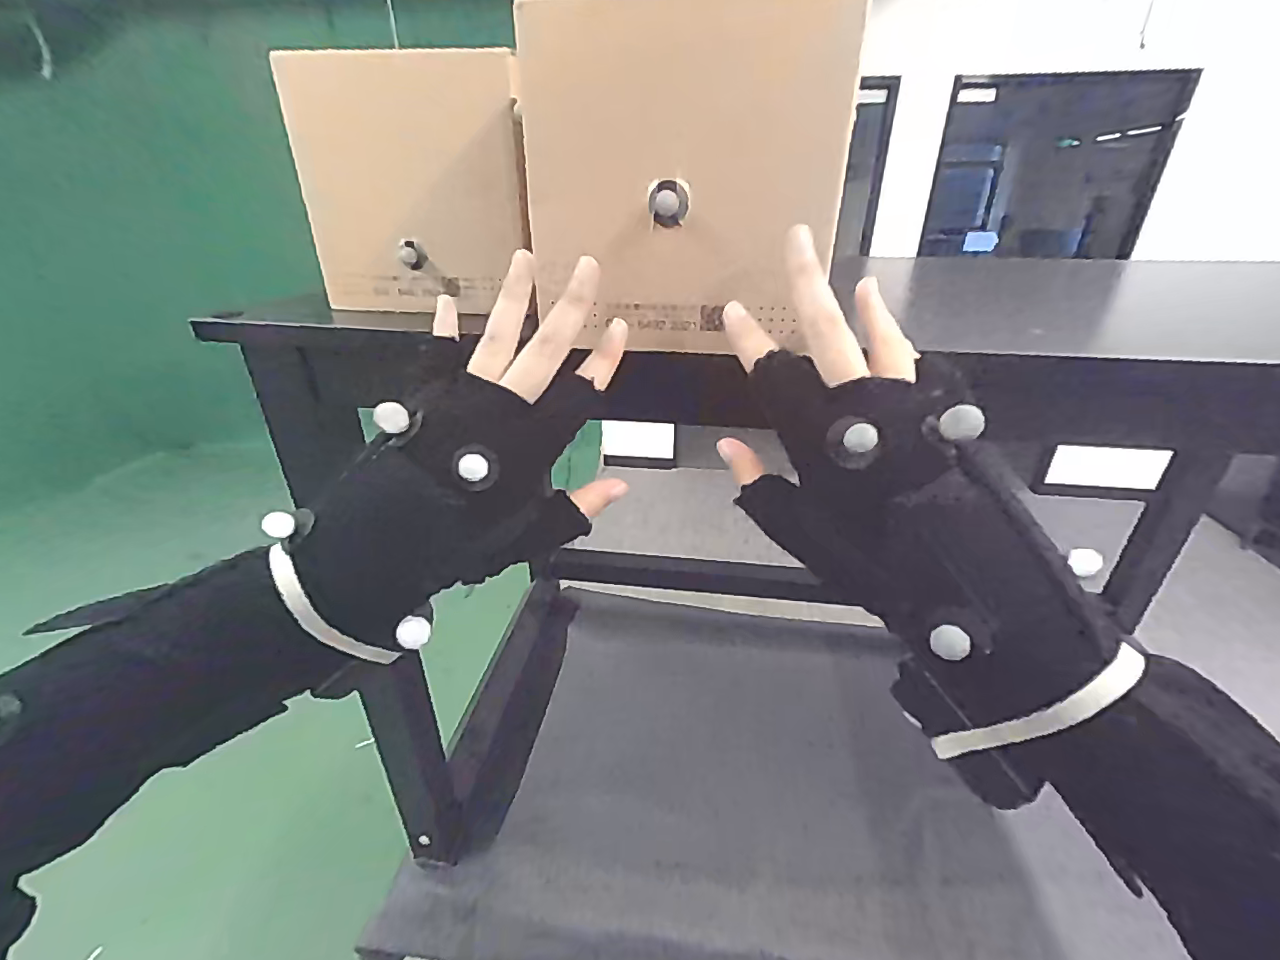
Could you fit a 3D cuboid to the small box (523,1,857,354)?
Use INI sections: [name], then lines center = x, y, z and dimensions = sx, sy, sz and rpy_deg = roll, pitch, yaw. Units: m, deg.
[small box]
center = 0.033, -0.189, 0.369
dimensions = 0.168, 0.176, 0.179
rpy_deg = 4, 27, 6
